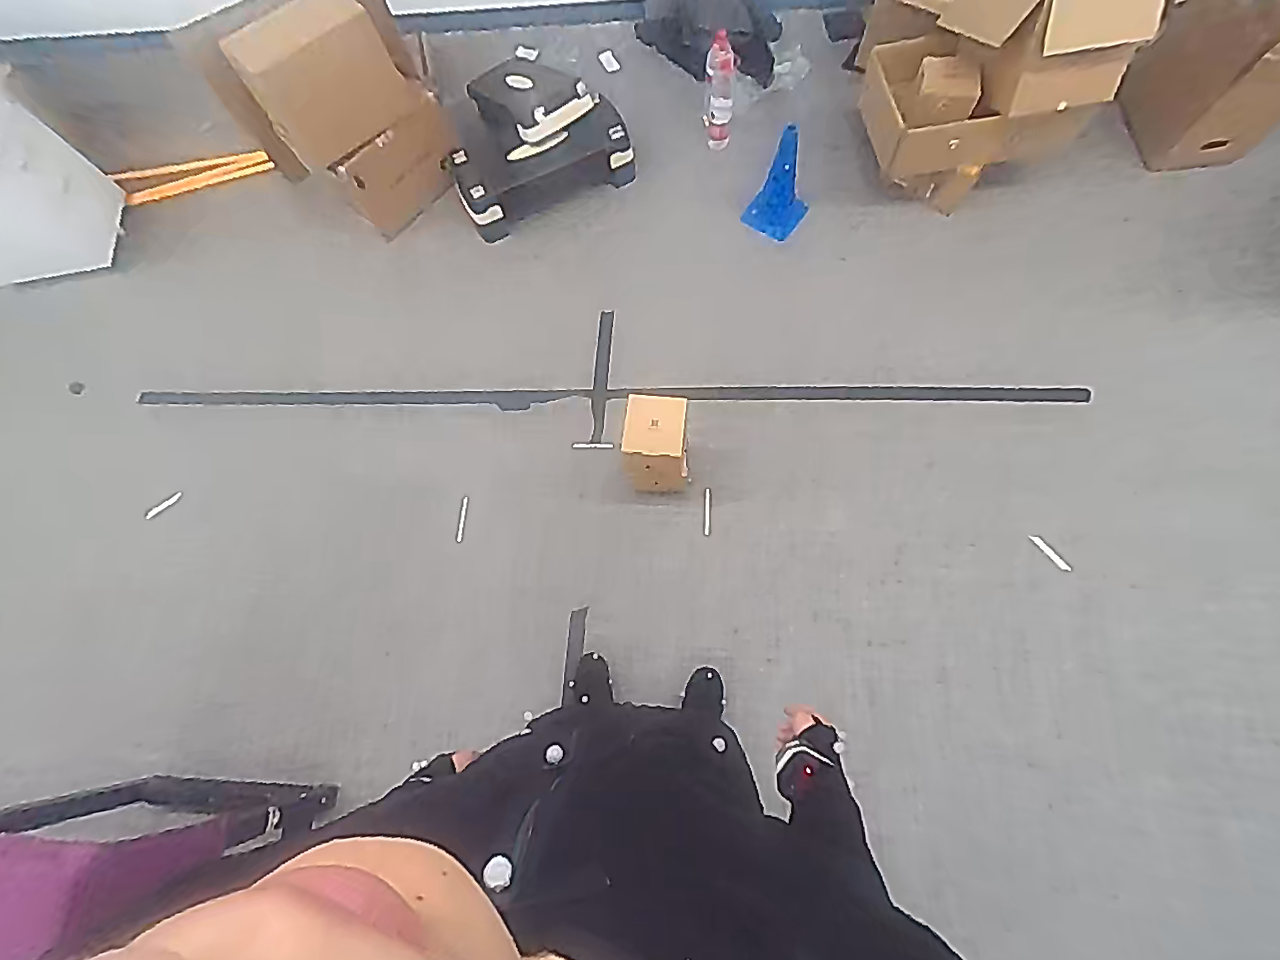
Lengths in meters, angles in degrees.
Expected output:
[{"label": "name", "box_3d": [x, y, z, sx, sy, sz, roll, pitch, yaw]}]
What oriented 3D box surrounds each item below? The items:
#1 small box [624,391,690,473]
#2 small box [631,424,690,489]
[{"label": "small box", "box_3d": [0.051, -0.135, 1.557, 0.168, 0.176, 0.179, 6, 74, 6]}, {"label": "small box", "box_3d": [0.067, -0.074, 1.708, 0.179, 0.176, 0.168, 1, 72, 6]}]
